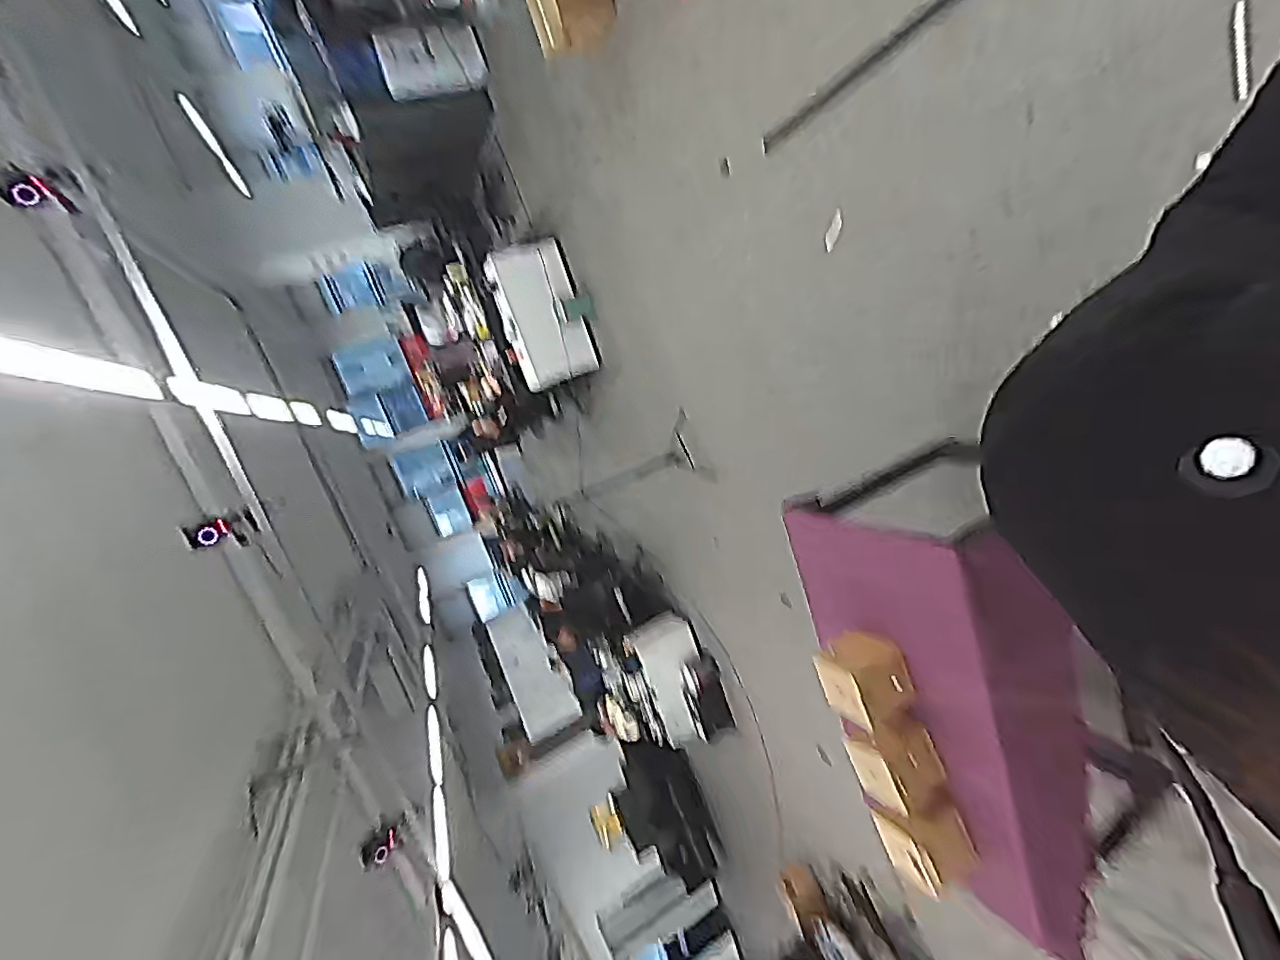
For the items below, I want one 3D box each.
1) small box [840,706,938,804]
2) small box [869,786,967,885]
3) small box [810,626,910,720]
[{"bbox_3d":[0.725,0.782,1.562,0.168,0.176,0.179,67,161,0],"label":"small box"},{"bbox_3d":[0.818,1.014,1.580,0.168,0.176,0.179,67,161,-2],"label":"small box"},{"bbox_3d":[0.625,0.537,1.535,0.179,0.176,0.168,1,114,69],"label":"small box"}]
